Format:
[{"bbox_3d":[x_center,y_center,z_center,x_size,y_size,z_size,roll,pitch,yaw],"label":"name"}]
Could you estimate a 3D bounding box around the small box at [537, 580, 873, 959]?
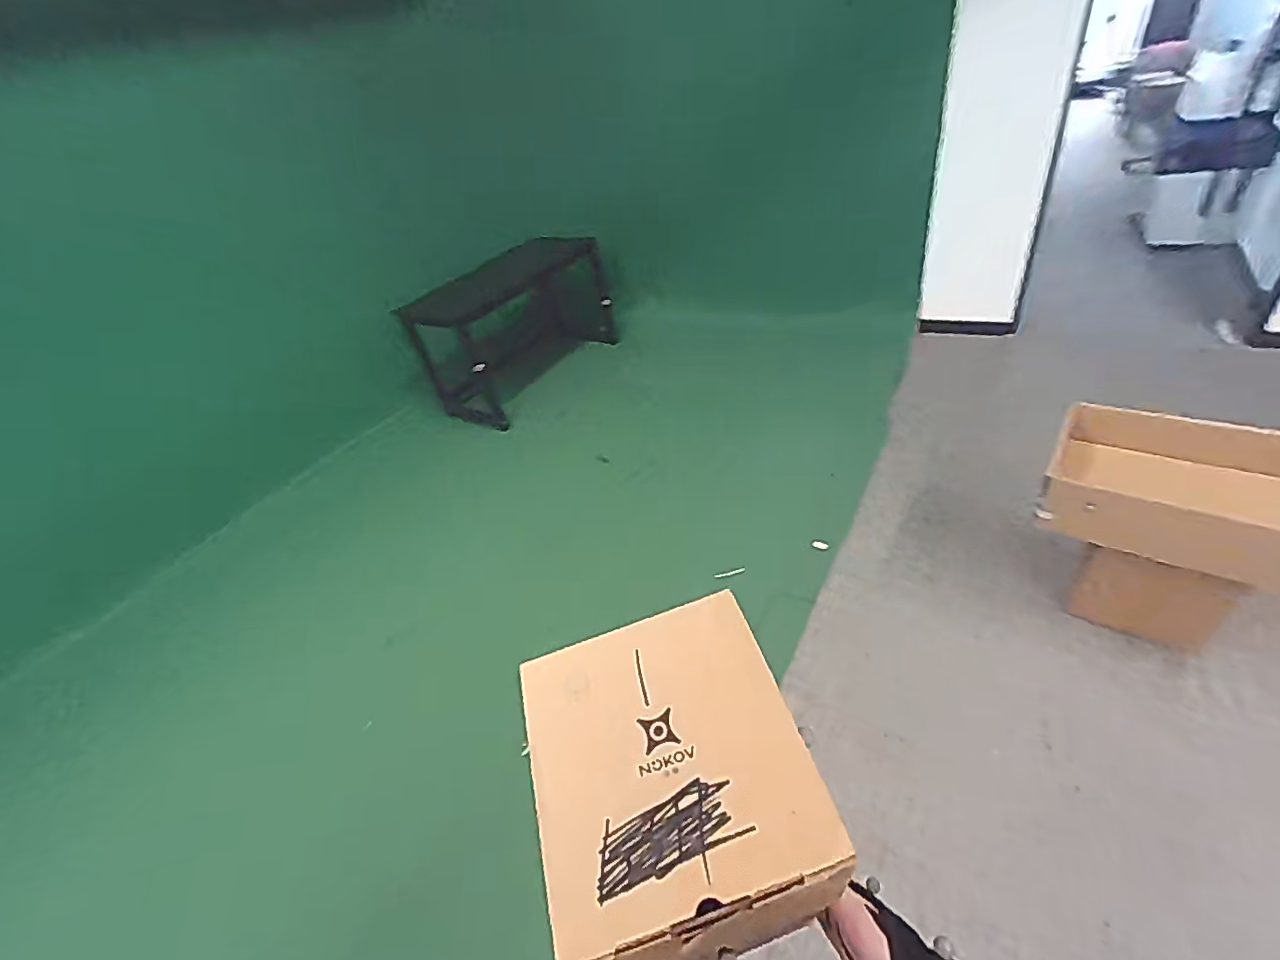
[{"bbox_3d":[0.039,0.208,0.386,0.168,0.176,0.179,-18,45,-2],"label":"small box"}]
